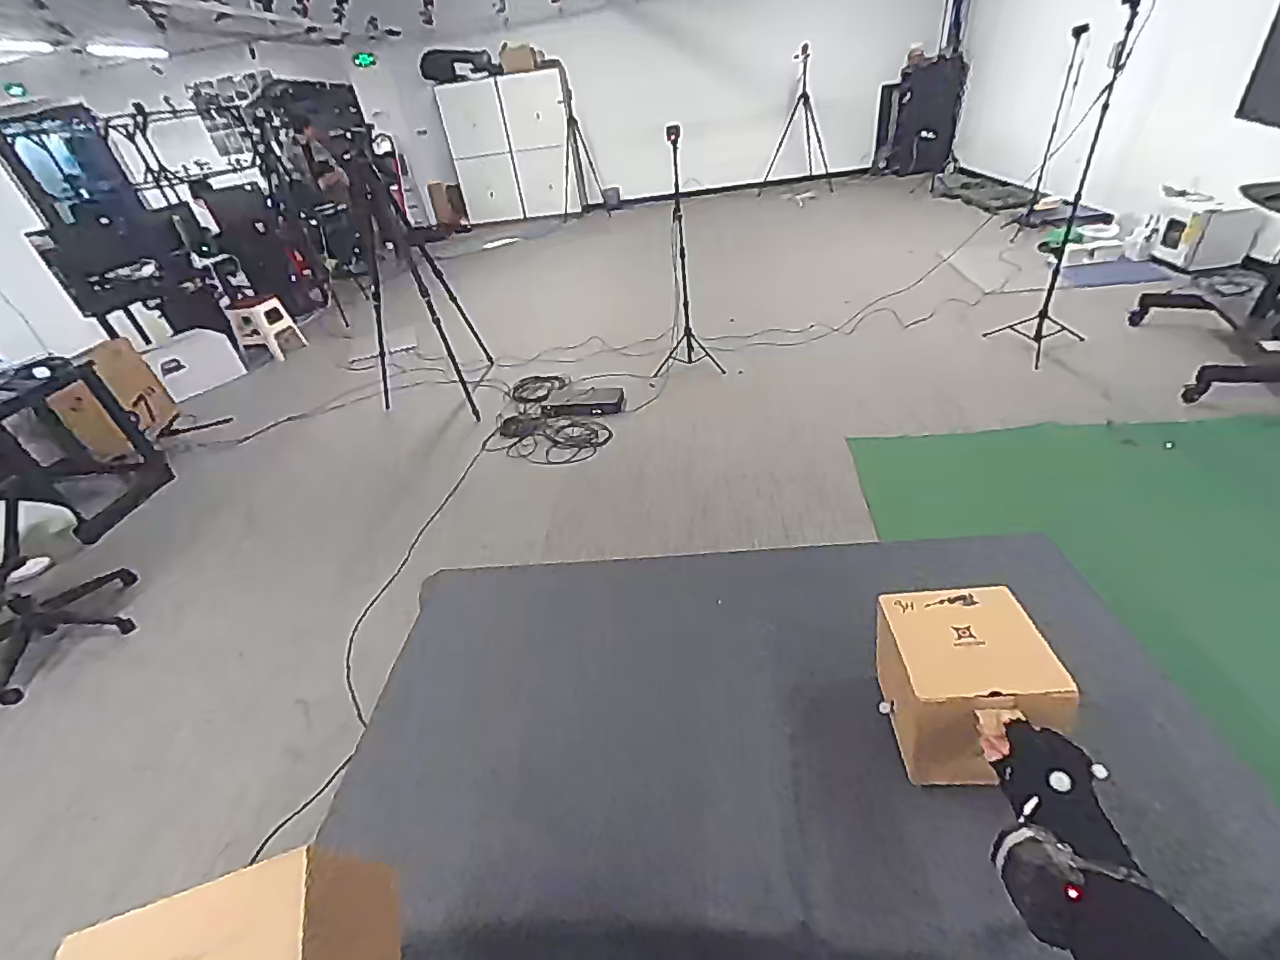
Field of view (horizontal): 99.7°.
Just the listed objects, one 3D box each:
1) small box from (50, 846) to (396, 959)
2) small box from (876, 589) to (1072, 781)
[{"bbox_3d":[-0.289,0.402,0.390,0.168,0.176,0.179,-17,50,-10],"label":"small box"},{"bbox_3d":[0.416,0.268,0.709,0.168,0.176,0.179,-6,30,11],"label":"small box"}]
